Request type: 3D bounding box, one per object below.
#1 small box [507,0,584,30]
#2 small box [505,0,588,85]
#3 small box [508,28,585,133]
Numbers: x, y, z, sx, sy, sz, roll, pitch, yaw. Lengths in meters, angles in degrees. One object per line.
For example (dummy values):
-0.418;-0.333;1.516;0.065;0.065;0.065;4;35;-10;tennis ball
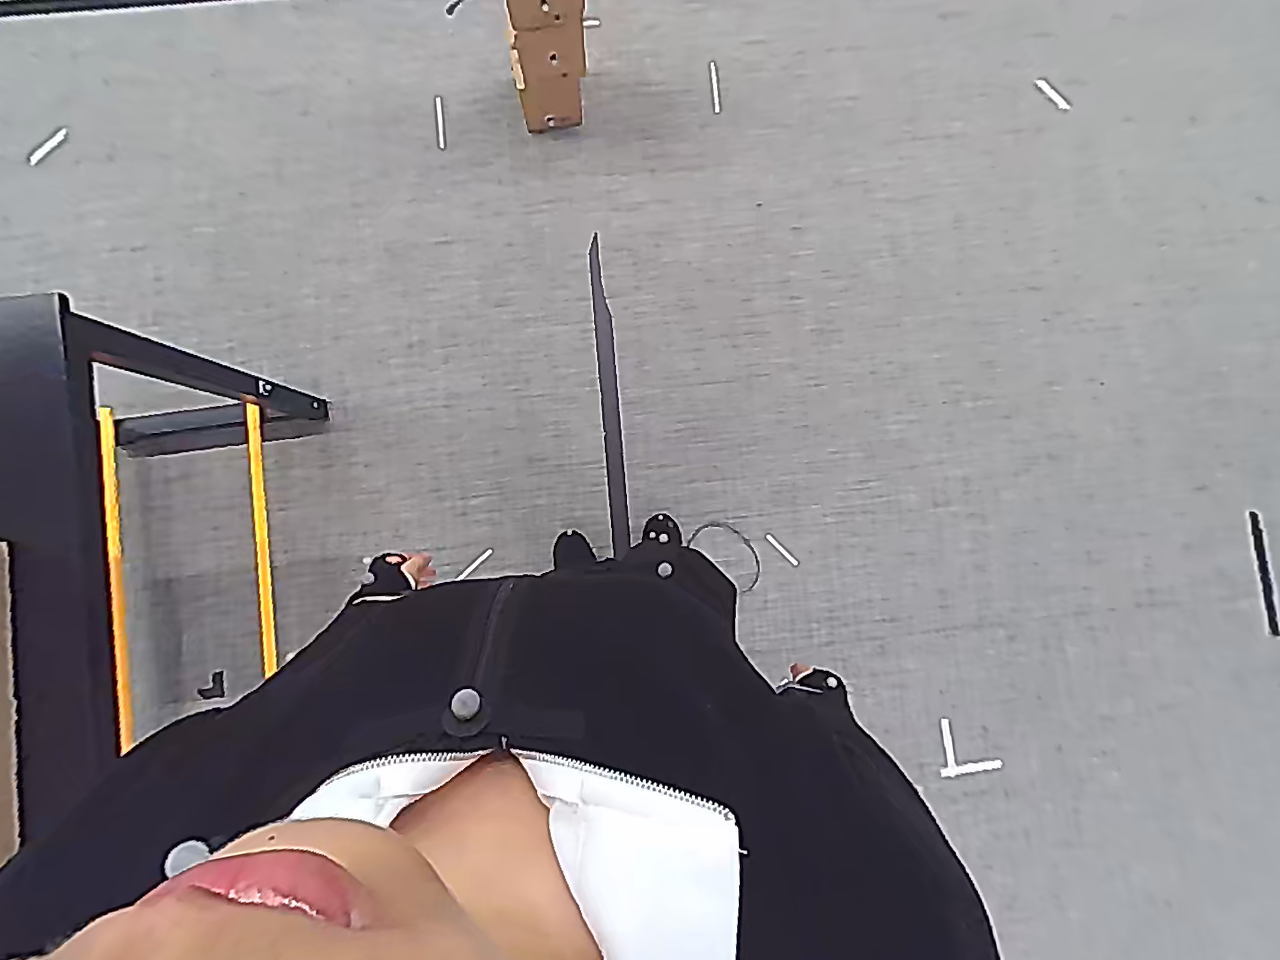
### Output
-0.215;-1.120;1.152;0.168;0.176;0.179;-8;88;-1;small box
-0.228;-1.107;1.317;0.168;0.176;0.179;-13;88;-2;small box
-0.251;-1.098;1.480;0.168;0.176;0.179;-12;89;-1;small box
